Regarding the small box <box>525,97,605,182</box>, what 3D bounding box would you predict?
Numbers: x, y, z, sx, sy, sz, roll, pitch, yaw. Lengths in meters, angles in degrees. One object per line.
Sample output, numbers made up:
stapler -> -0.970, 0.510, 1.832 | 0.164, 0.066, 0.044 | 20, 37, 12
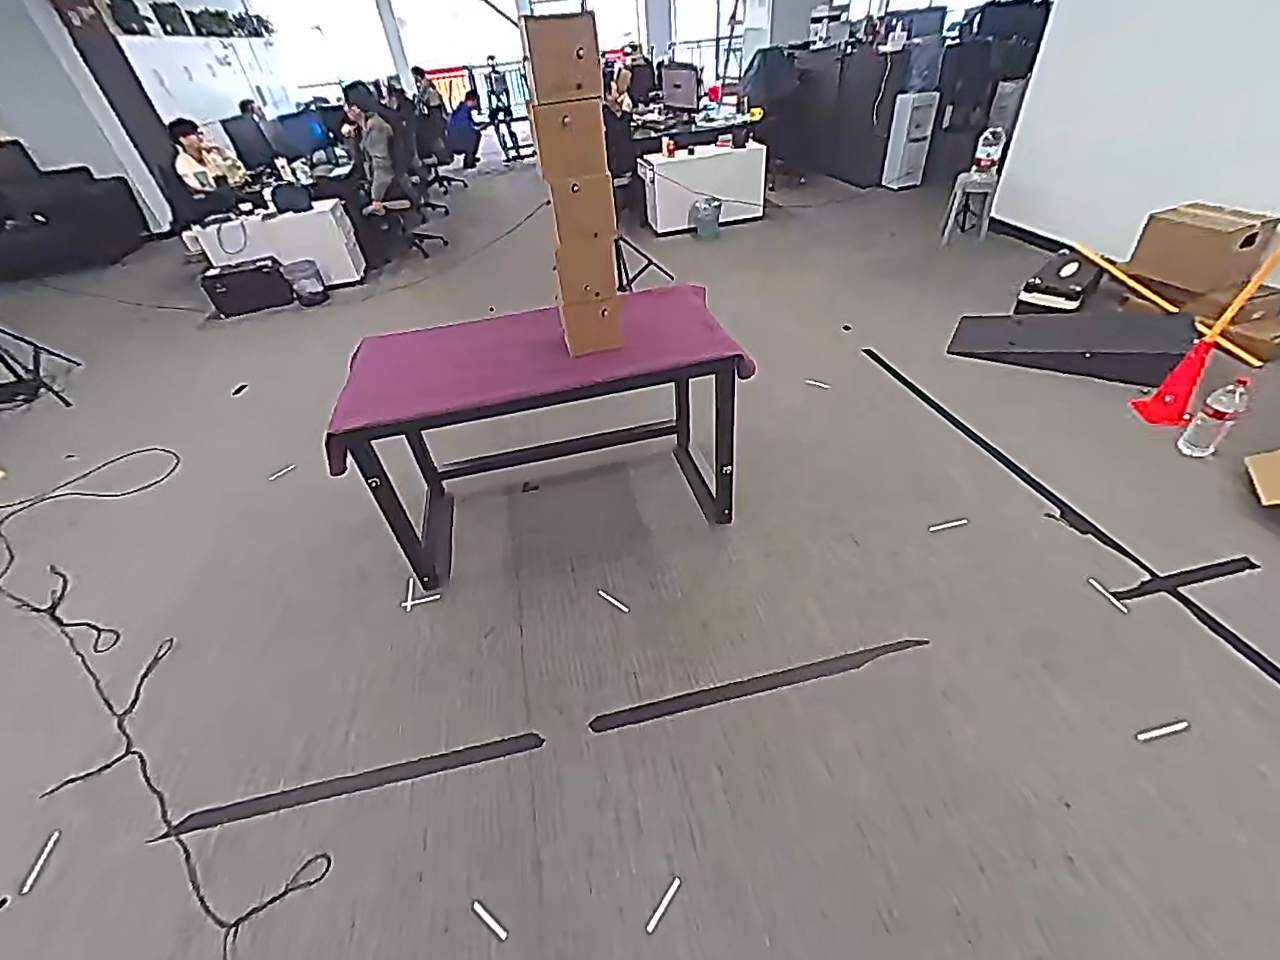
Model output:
small box -> -0.193, -0.903, 1.423 | 0.179, 0.176, 0.168 | -14, 41, -8

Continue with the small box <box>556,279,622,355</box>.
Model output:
small box -> -0.159, -0.520, 1.728 | 0.179, 0.176, 0.168 | -13, 40, -7

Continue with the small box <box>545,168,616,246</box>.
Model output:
small box -> -0.169, -0.773, 1.520 | 0.168, 0.176, 0.179 | -13, 40, -8

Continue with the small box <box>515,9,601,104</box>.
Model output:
small box -> -0.199, -1.030, 1.323 | 0.168, 0.176, 0.179 | -13, 40, -10
